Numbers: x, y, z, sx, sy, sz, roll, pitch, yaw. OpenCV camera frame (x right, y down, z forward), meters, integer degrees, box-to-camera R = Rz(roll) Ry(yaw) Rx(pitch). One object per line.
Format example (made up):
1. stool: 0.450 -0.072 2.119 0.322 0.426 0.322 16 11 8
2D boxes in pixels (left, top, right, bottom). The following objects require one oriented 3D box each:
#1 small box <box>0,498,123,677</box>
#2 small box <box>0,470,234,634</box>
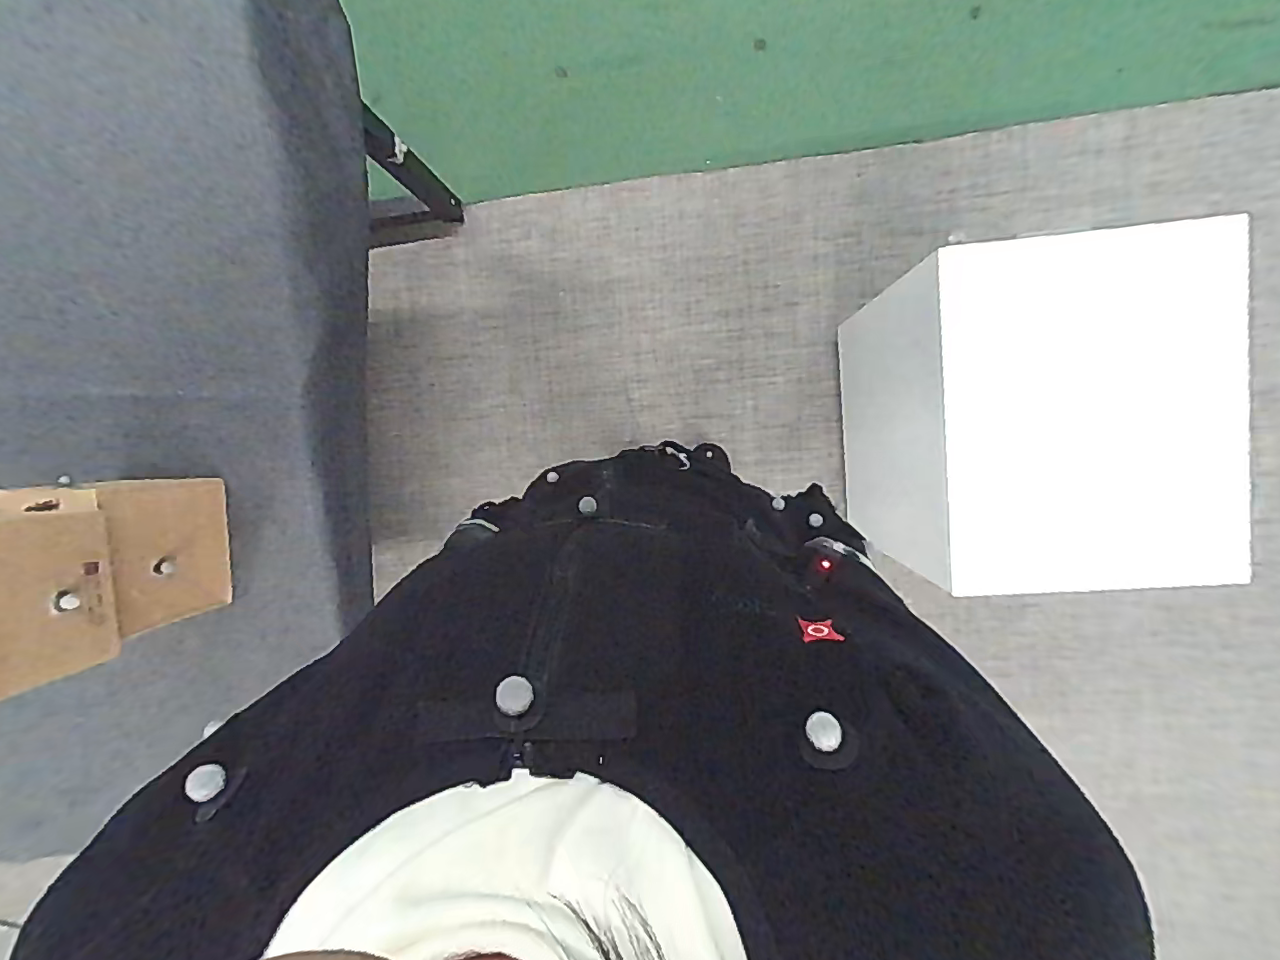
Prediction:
1. small box: -0.678 0.111 0.533 0.179 0.176 0.168 -5 94 8
2. small box: -0.664 0.081 0.694 0.168 0.176 0.179 -1 95 6
